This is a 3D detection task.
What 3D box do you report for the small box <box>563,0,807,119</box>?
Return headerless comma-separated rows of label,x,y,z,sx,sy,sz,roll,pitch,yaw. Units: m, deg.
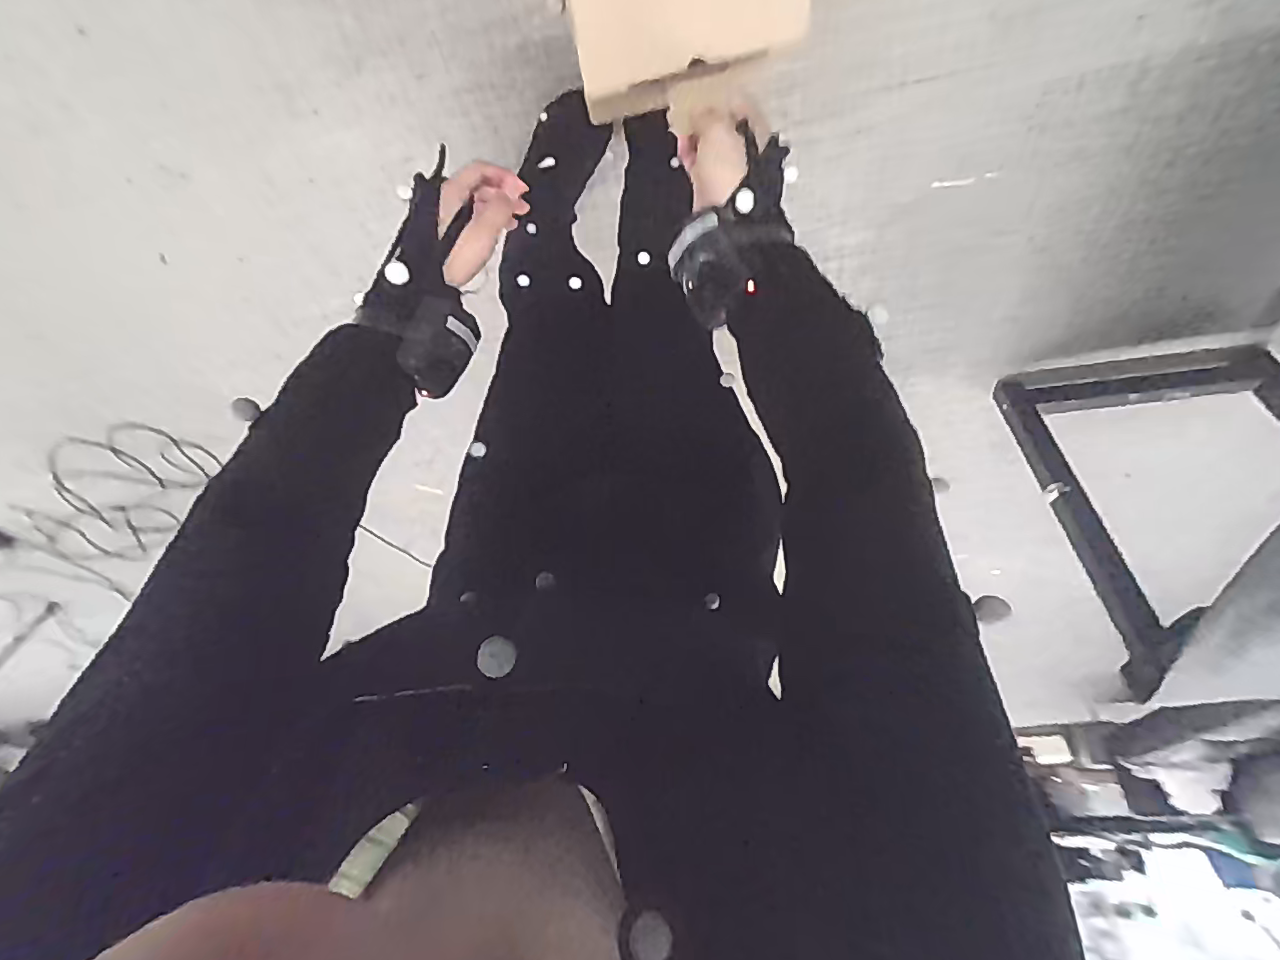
small box,0.021,-0.396,0.416,0.168,0.176,0.179,-11,120,2
